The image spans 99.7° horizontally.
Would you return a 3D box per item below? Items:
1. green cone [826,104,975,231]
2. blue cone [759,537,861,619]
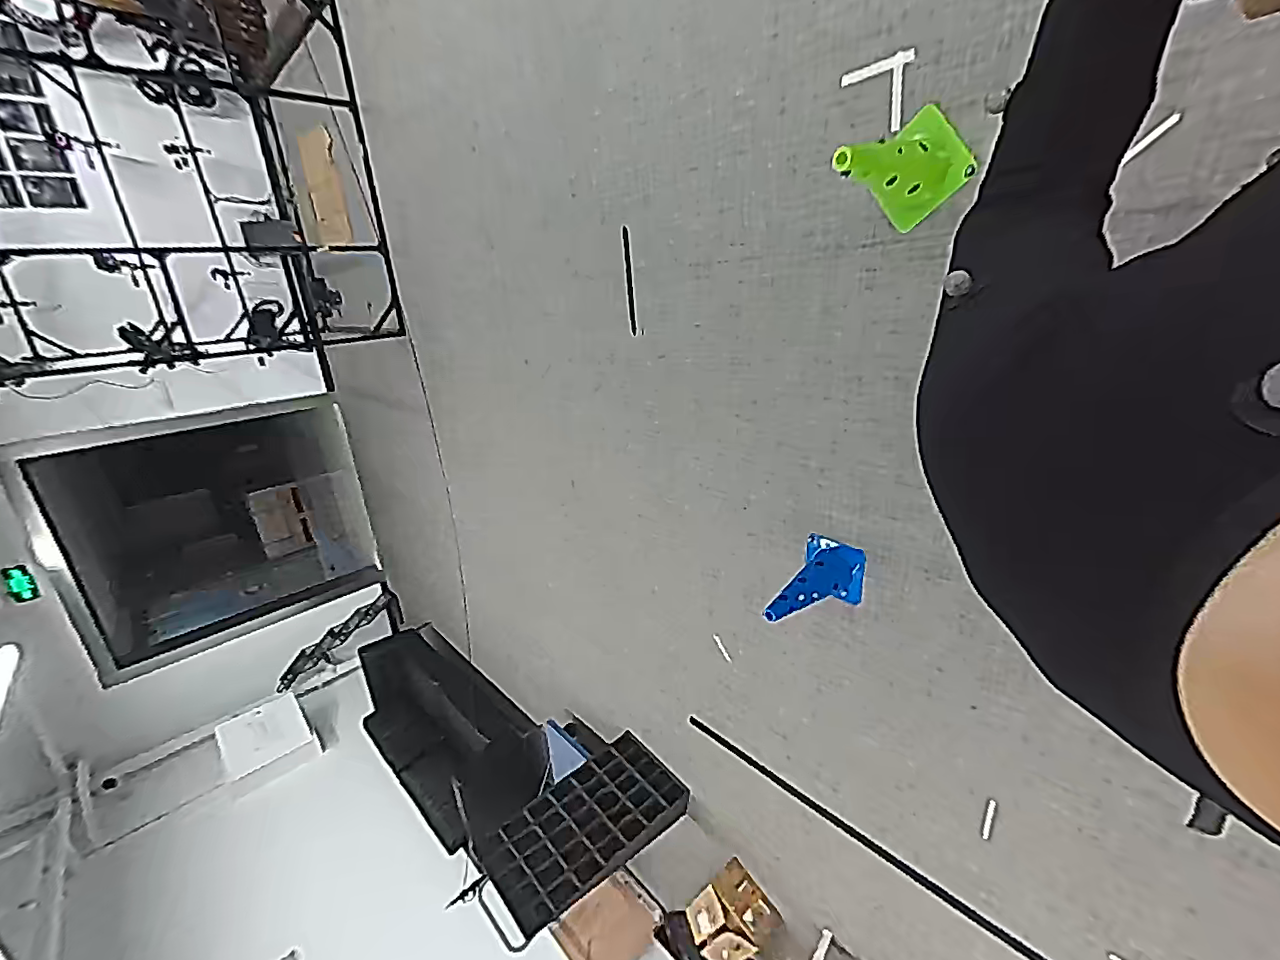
[{"bbox_3d":[0.518,-0.679,1.164,0.202,0.368,0.200,-40,74,52],"label":"green cone"},{"bbox_3d":[0.504,0.335,1.666,0.192,0.380,0.193,22,122,44],"label":"blue cone"}]
